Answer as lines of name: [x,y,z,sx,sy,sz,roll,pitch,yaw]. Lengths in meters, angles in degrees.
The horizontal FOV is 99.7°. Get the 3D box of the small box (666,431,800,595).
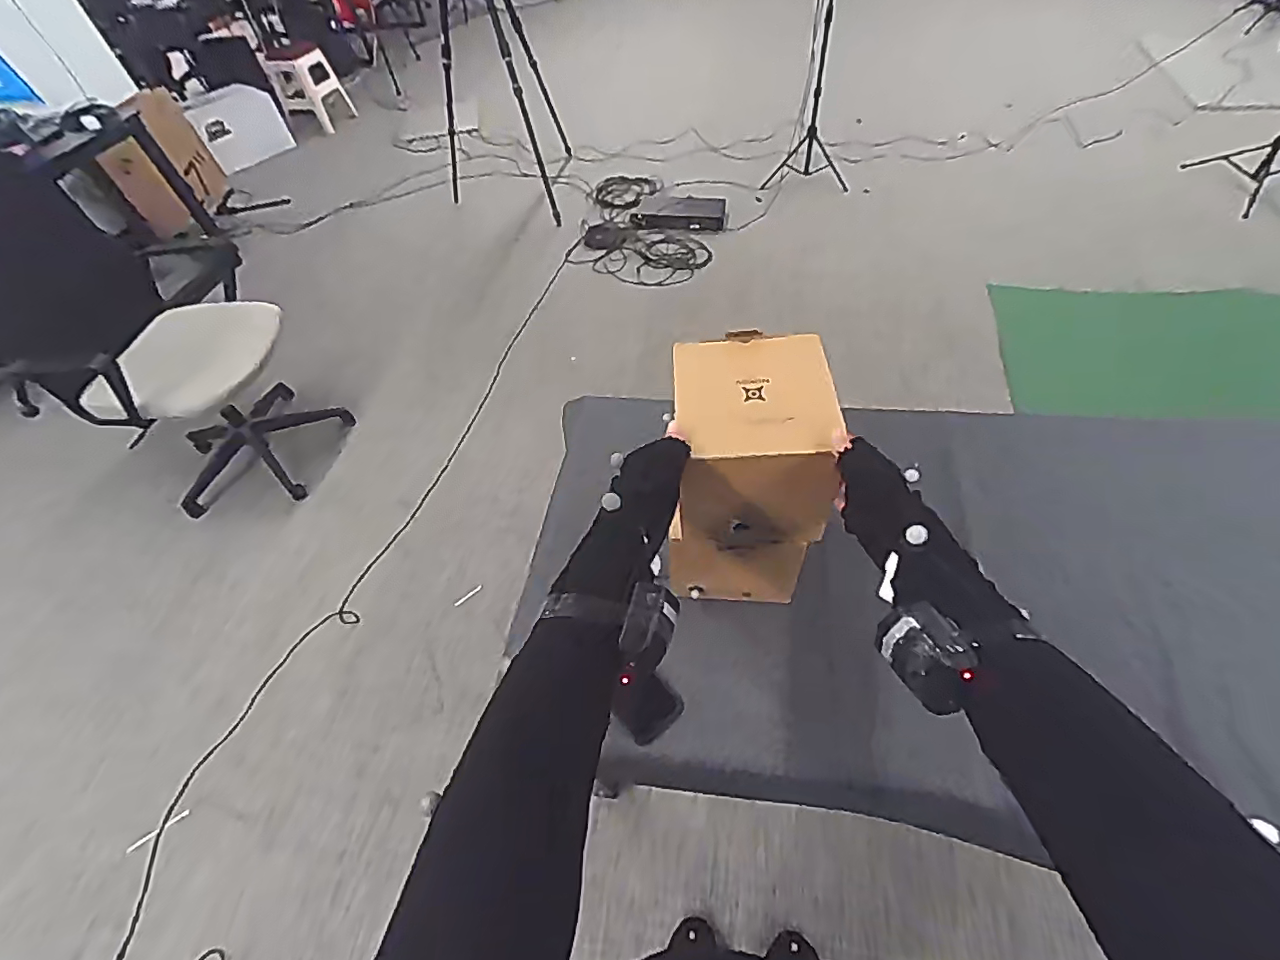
small box: [0.129,0.048,0.763,0.168,0.176,0.179,2,53,7]

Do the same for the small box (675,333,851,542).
small box: [0.126,-0.045,0.631,0.168,0.176,0.179,-4,54,4]
